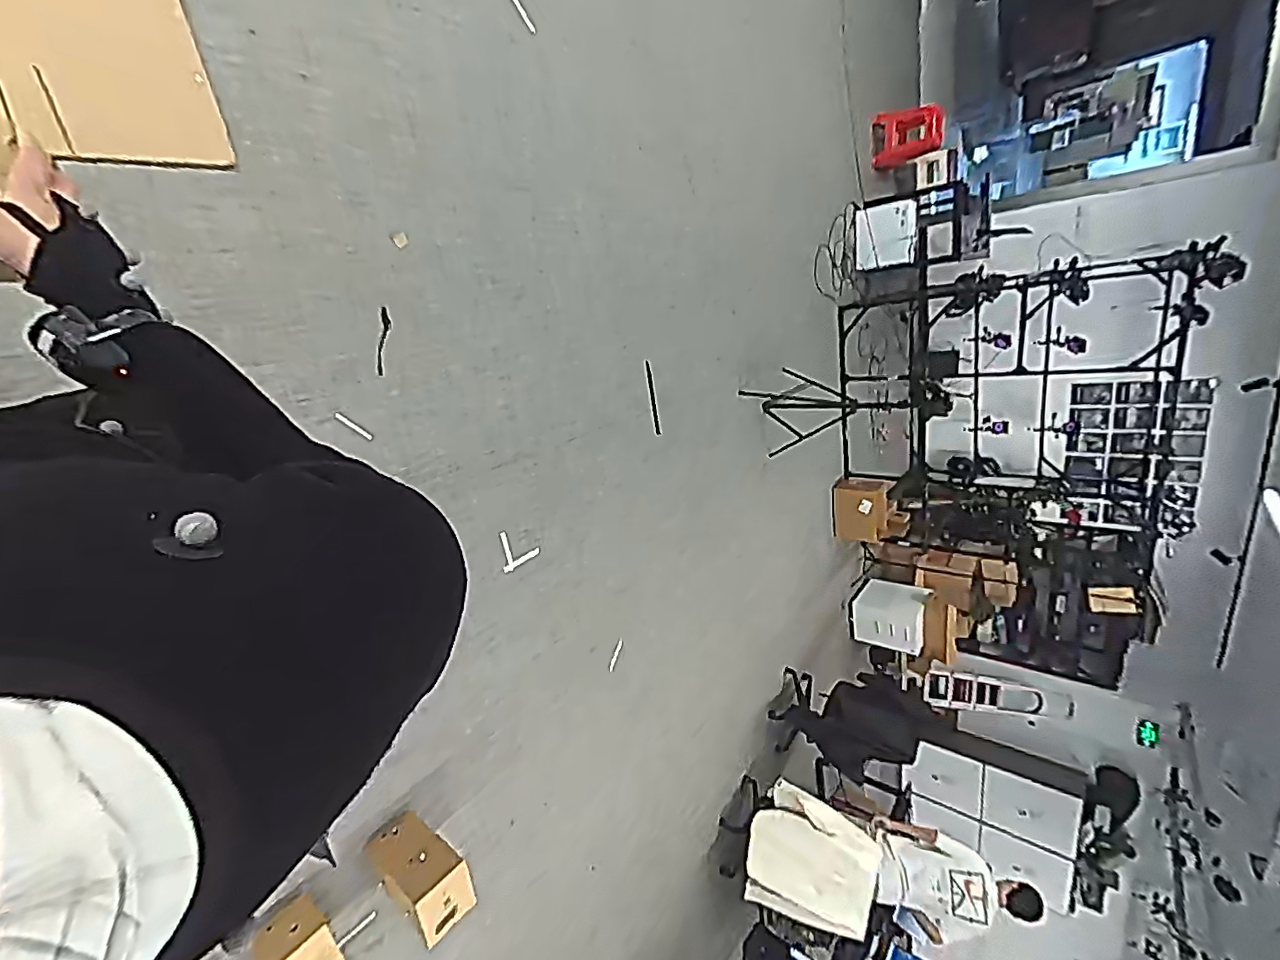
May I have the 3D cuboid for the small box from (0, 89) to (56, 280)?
[{"bbox_3d":[-0.626,-0.256,0.429,0.179,0.176,0.168,-26,115,-50],"label":"small box"}]

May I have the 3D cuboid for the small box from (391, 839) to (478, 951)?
[{"bbox_3d":[-0.623,1.245,1.638,0.168,0.176,0.179,-25,112,-46],"label":"small box"}]

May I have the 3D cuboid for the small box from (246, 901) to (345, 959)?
[{"bbox_3d":[-0.959,1.332,1.509,0.168,0.176,0.179,-30,117,-44],"label":"small box"}]
